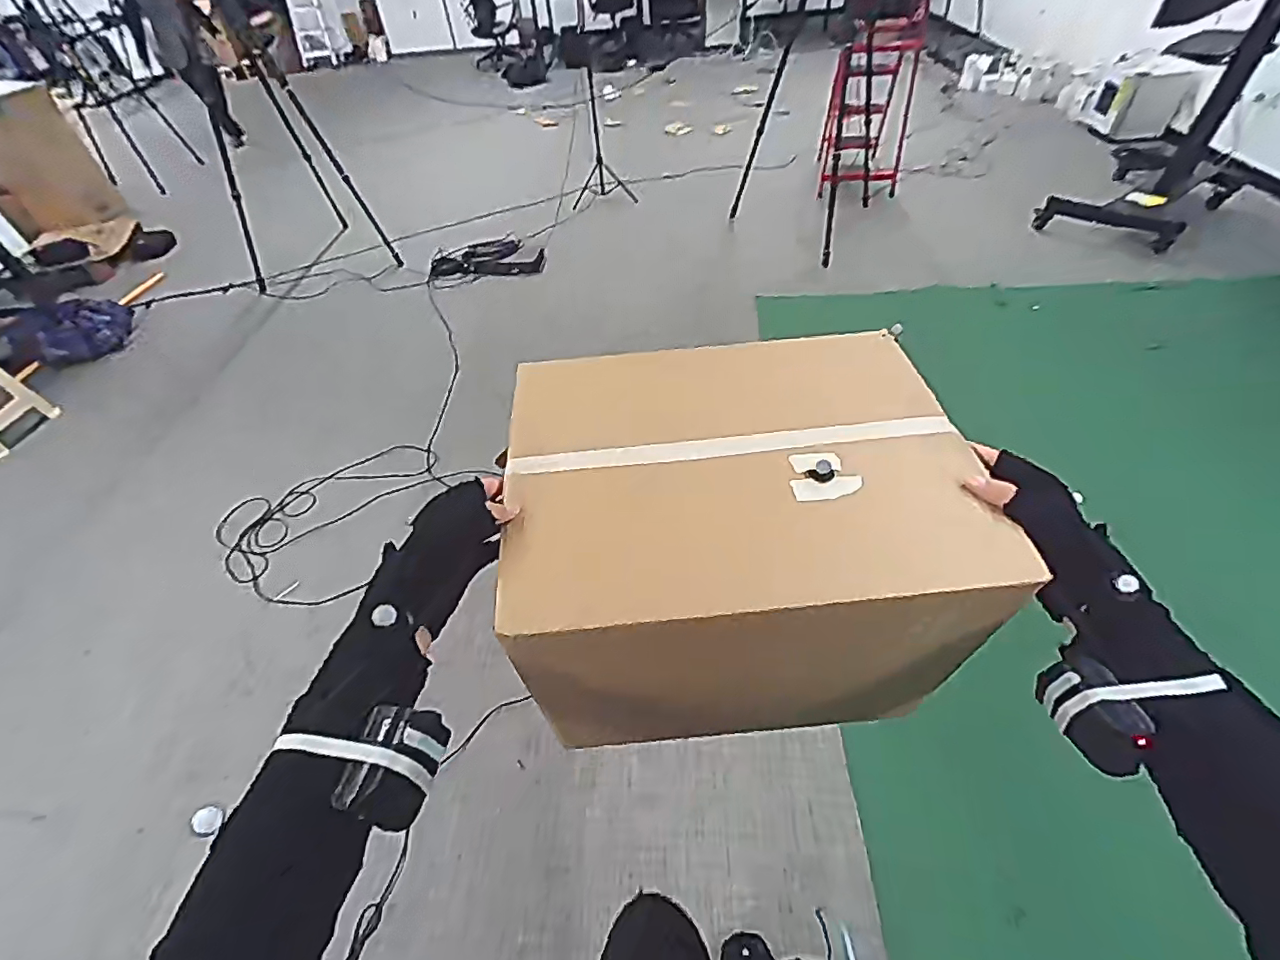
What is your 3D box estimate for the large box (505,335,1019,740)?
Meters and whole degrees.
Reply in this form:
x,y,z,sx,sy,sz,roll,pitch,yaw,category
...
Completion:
x,y,z,sx,sy,sz,roll,pitch,yaw,category
0.085,0.070,0.612,0.408,0.320,0.320,-6,51,-2,large box
